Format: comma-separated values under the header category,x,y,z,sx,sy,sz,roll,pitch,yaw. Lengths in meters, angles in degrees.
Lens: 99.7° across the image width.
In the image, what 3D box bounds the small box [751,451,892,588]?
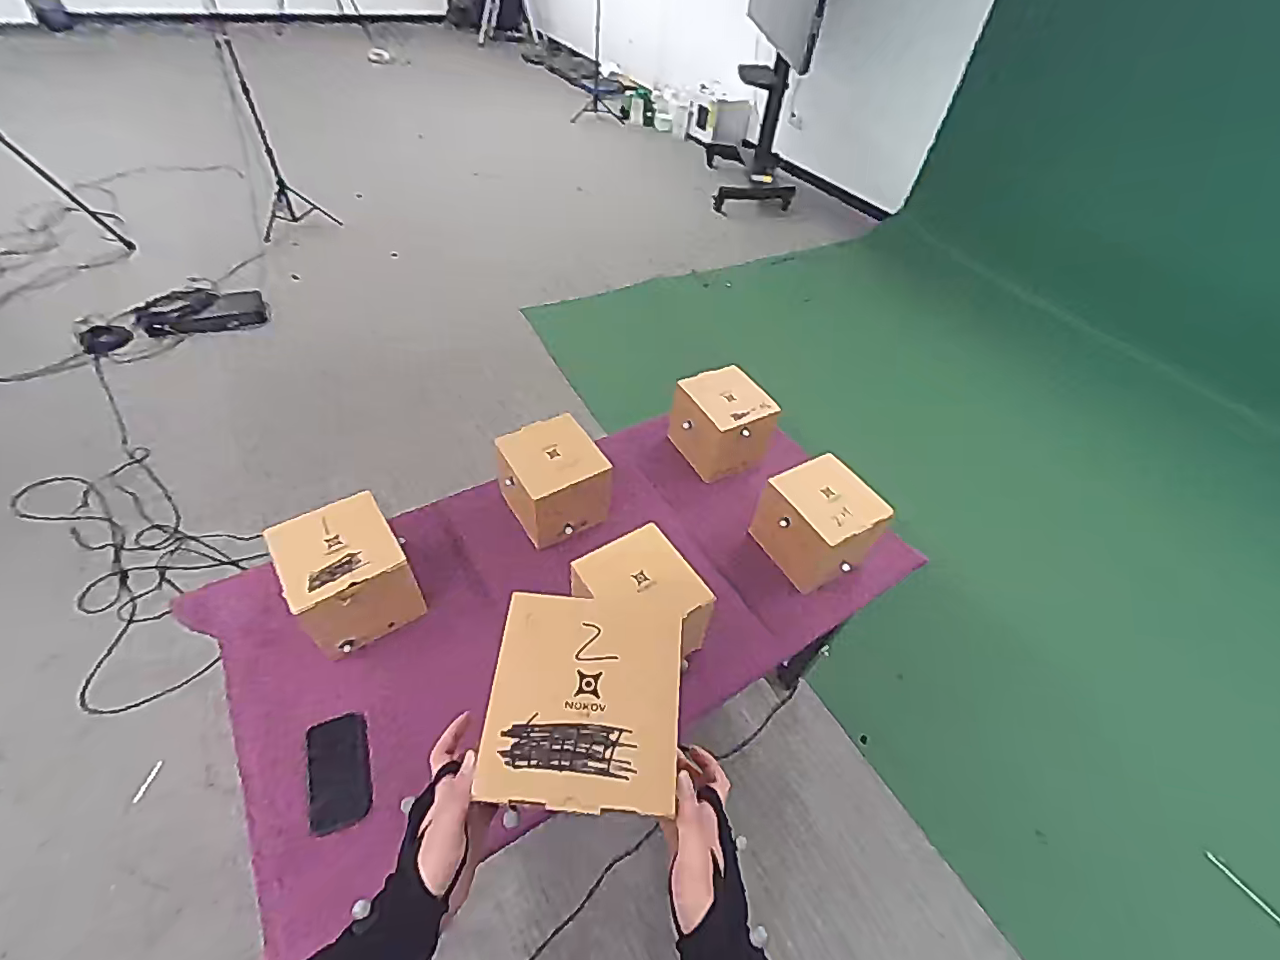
category,x,y,z,sx,sy,sz,roll,pitch,yaw
small box,0.340,0.077,1.054,0.168,0.176,0.179,-22,54,-22

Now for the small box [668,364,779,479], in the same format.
category,x,y,z,sx,sy,sz,roll,pitch,yaw
small box,0.179,-0.133,1.229,0.168,0.176,0.179,-21,53,-22

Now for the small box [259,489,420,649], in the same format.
category,x,y,z,sx,sy,sz,roll,pitch,yaw
small box,-0.487,0.153,0.894,0.168,0.176,0.179,-26,55,-27

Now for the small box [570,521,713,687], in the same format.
category,x,y,z,sx,sy,sz,roll,pitch,yaw
small box,-0.007,0.207,0.903,0.168,0.176,0.179,-24,55,-26

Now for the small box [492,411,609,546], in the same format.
category,x,y,z,sx,sy,sz,roll,pitch,yaw
small box,-0.177,-0.002,1.072,0.168,0.176,0.179,-24,56,-24
